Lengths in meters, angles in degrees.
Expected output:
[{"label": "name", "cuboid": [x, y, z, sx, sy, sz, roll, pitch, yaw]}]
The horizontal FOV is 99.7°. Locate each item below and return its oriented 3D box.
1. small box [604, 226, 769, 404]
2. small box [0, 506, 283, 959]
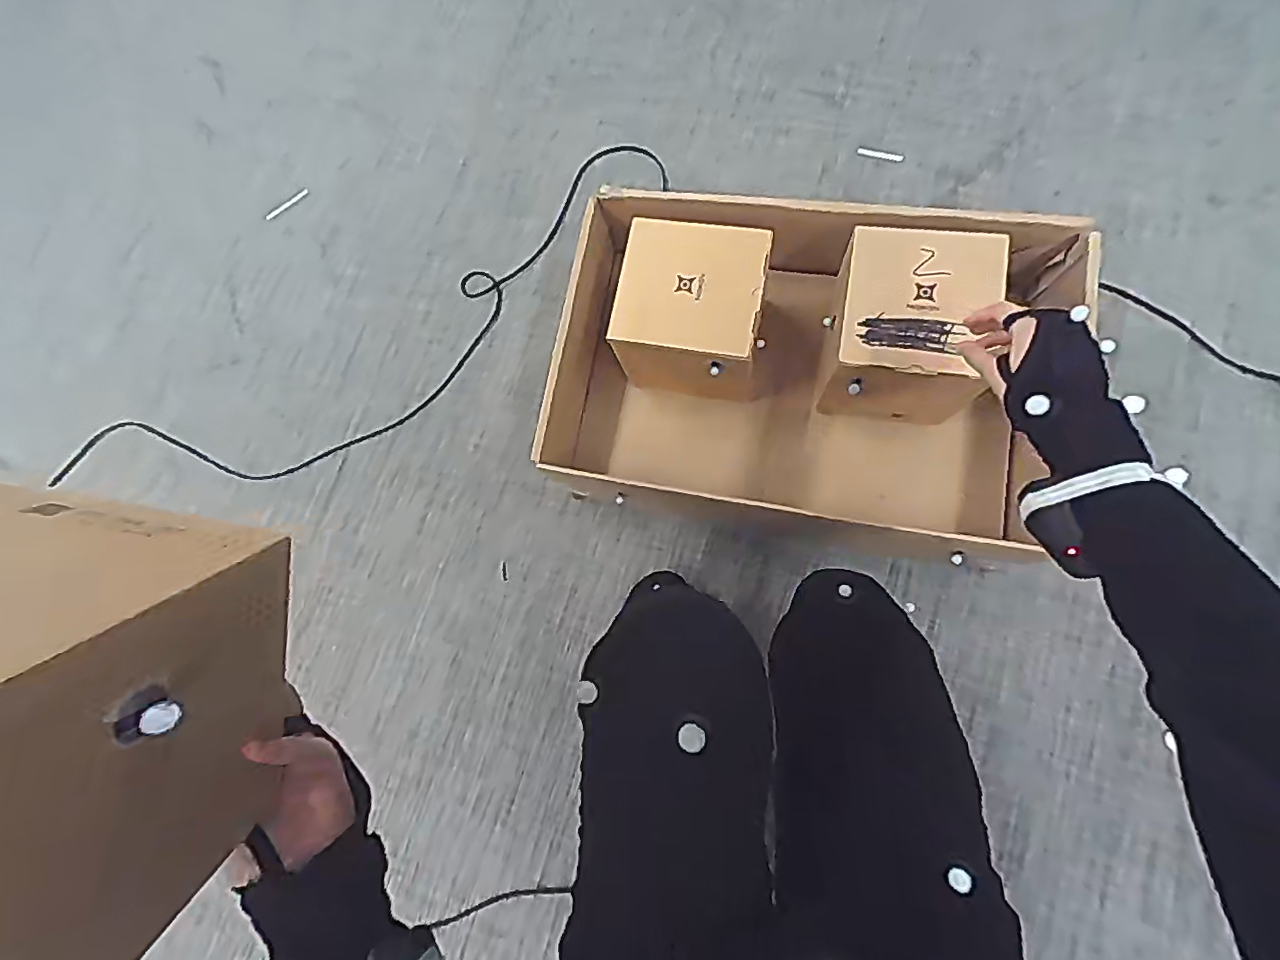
[{"label": "small box", "cuboid": [0.067, -0.212, 0.729, 0.179, 0.176, 0.168, 10, 82, 10]}, {"label": "small box", "cuboid": [-0.288, 0.124, 0.233, 0.168, 0.176, 0.179, 12, 104, 1]}]
